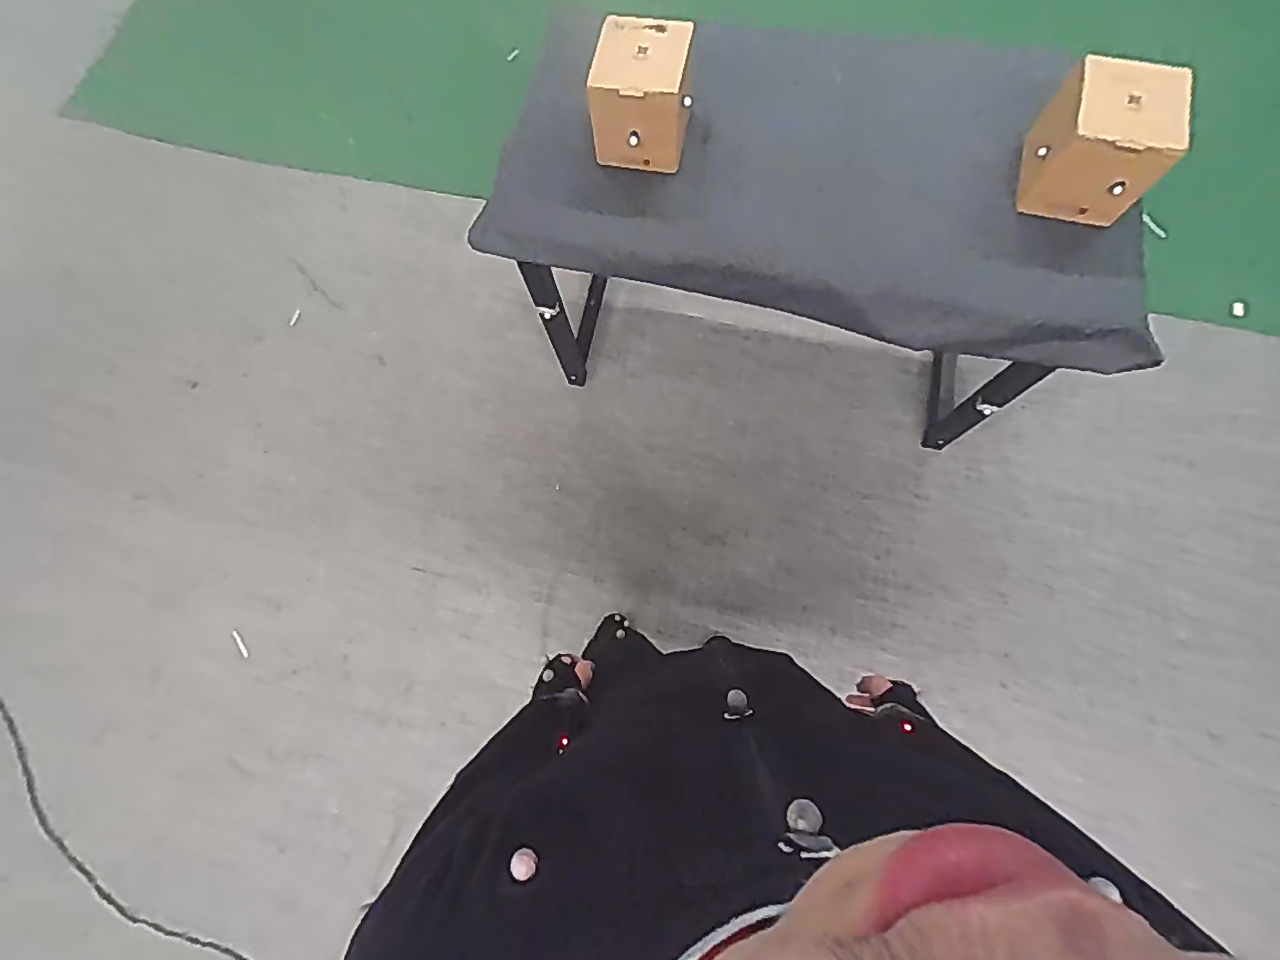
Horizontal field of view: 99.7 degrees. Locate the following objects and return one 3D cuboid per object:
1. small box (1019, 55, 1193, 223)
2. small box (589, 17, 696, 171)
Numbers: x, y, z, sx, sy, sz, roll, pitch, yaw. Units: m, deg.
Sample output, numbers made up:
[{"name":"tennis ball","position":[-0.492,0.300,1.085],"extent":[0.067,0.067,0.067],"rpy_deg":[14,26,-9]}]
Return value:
[{"name":"small box","position":[0.800,-0.585,0.944],"extent":[0.168,0.176,0.179],"rpy_deg":[15,75,7]},{"name":"small box","position":[0.011,-0.732,1.038],"extent":[0.168,0.176,0.179],"rpy_deg":[10,76,6]}]
